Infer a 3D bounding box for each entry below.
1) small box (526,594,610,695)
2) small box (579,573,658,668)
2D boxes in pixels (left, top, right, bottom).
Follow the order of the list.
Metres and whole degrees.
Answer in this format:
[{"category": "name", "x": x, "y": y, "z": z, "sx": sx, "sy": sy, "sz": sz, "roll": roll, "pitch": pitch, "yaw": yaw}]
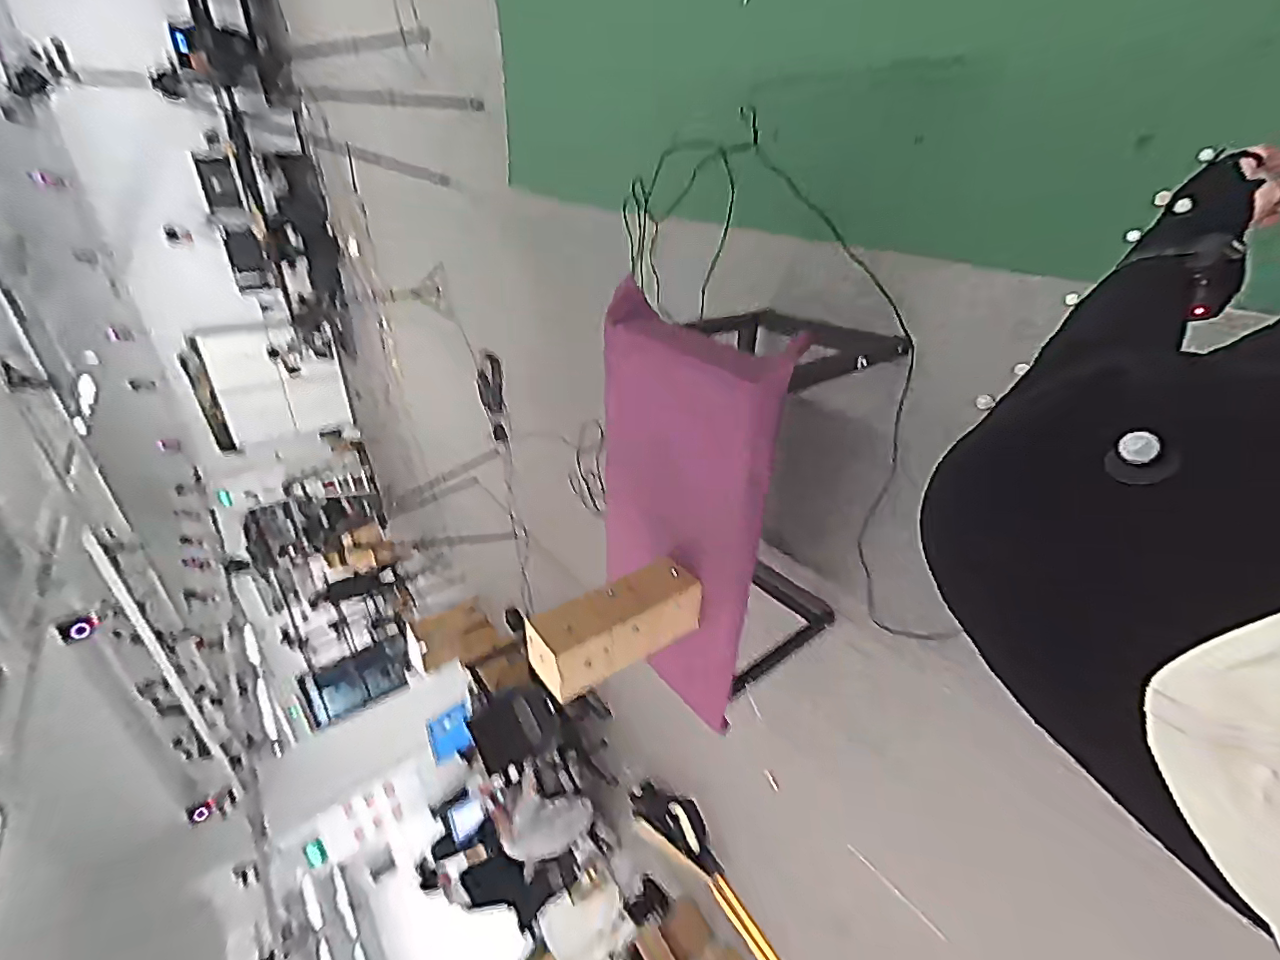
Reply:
[{"category": "small box", "x": -0.195, "y": 0.443, "z": 1.488, "sx": 0.179, "sy": 0.176, "sz": 0.168, "roll": 33, "pitch": 131, "yaw": 43}, {"category": "small box", "x": -0.062, "y": 0.401, "z": 1.572, "sx": 0.168, "sy": 0.176, "sz": 0.179, "roll": 34, "pitch": 132, "yaw": 43}]
